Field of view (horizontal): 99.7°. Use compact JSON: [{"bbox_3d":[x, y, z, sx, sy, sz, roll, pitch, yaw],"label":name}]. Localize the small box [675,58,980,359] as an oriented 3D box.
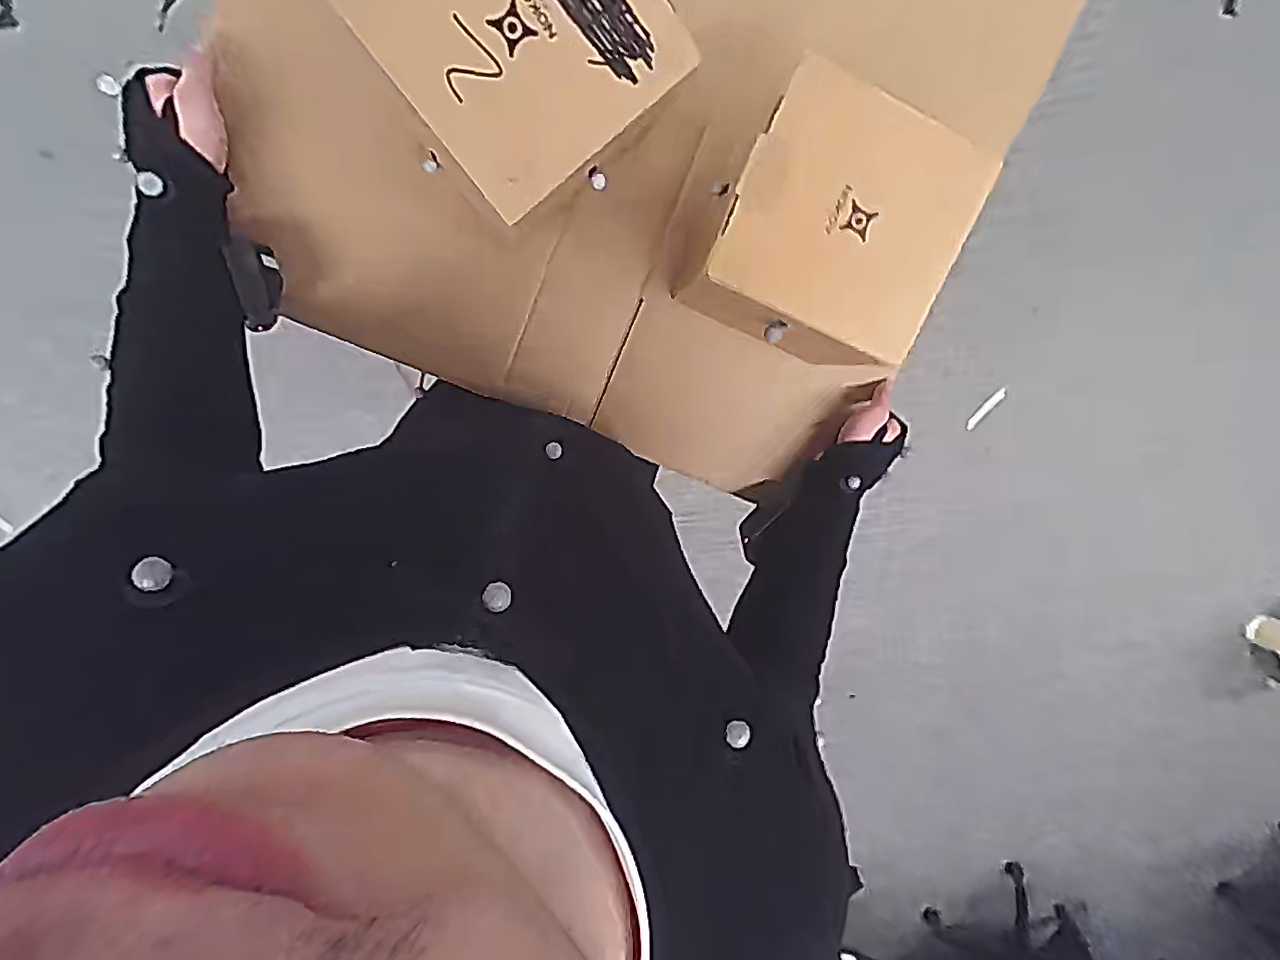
[{"bbox_3d":[0.149,-0.223,0.497,0.179,0.176,0.168,21,100,-8],"label":"small box"}]
